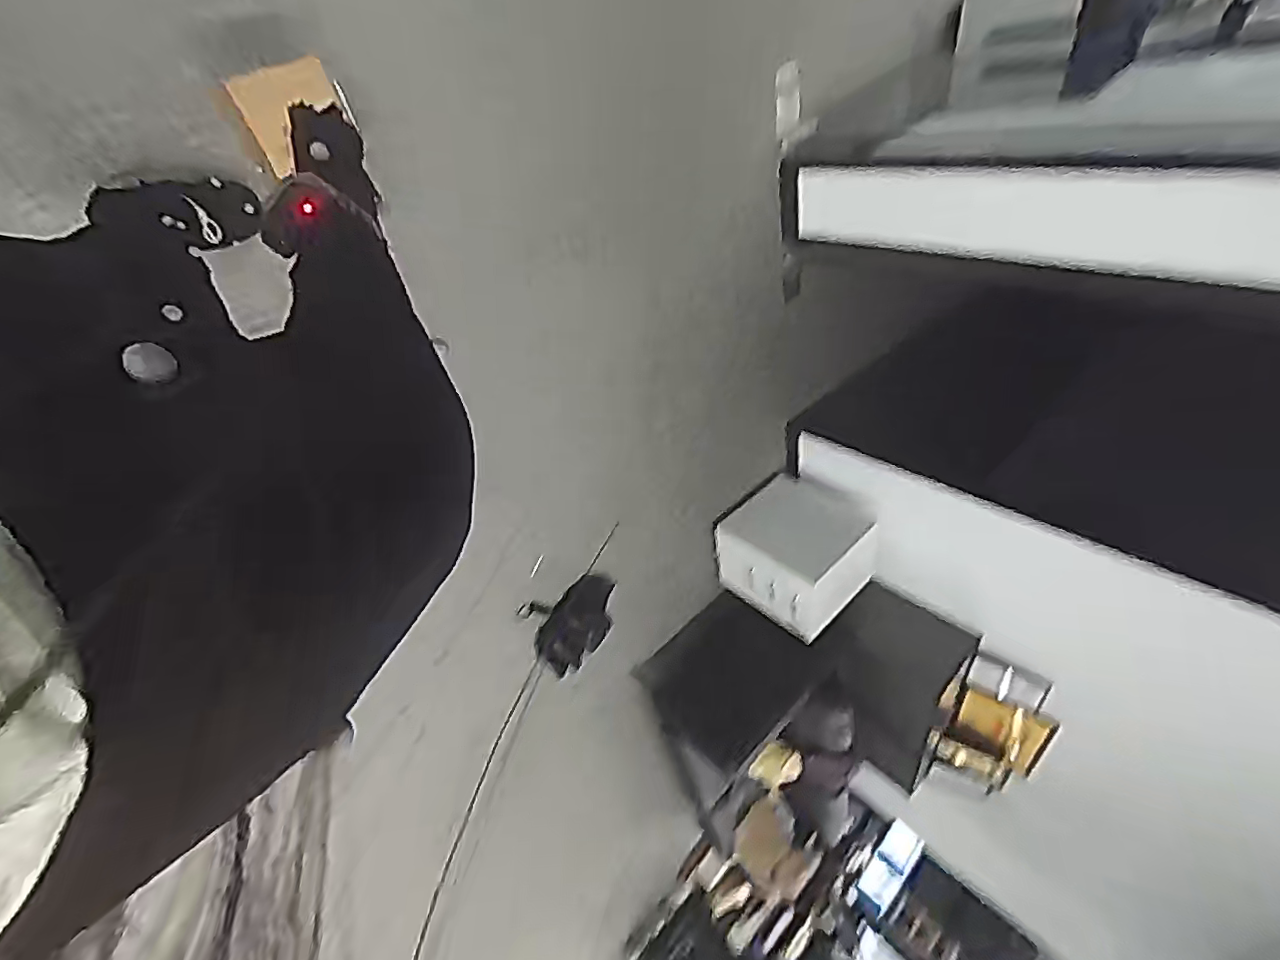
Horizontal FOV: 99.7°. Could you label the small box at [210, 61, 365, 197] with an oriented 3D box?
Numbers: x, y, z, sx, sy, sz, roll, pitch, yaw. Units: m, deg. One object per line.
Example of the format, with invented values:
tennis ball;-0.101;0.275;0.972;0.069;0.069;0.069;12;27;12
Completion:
small box;-0.663;-0.657;1.021;0.168;0.176;0.179;-39;133;-24
